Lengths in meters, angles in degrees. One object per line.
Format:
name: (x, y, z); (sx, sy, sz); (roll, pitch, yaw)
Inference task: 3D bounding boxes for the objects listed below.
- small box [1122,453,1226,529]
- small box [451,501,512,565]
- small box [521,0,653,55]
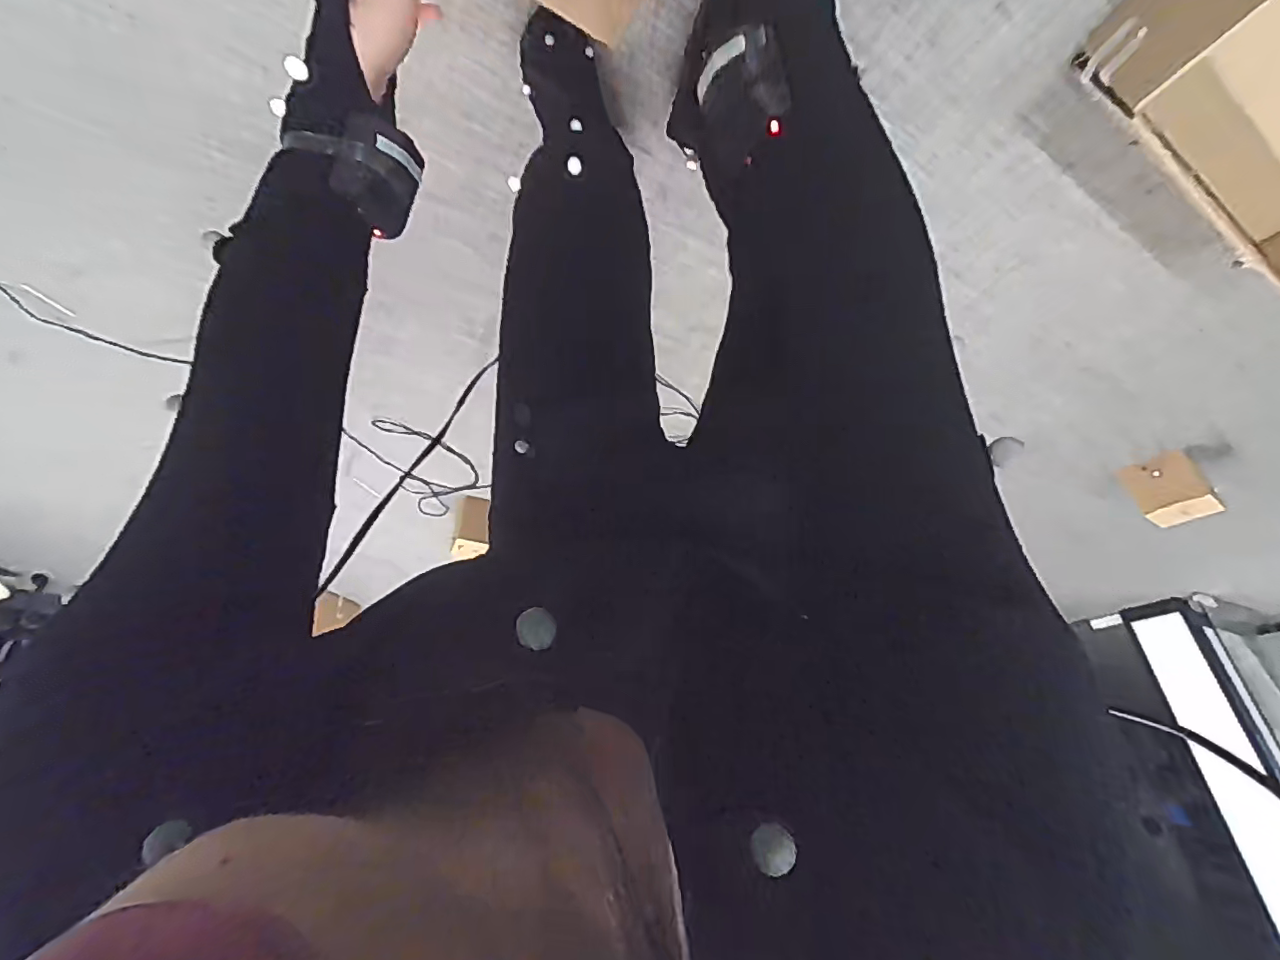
small box: (1.717, 0.034, 1.744); (0.179, 0.176, 0.168); (20, 143, -29)
small box: (-0.575, 0.194, 1.974); (0.179, 0.176, 0.168); (13, 146, -23)
small box: (-0.053, -0.487, 0.401); (0.179, 0.176, 0.168); (6, 159, -31)
